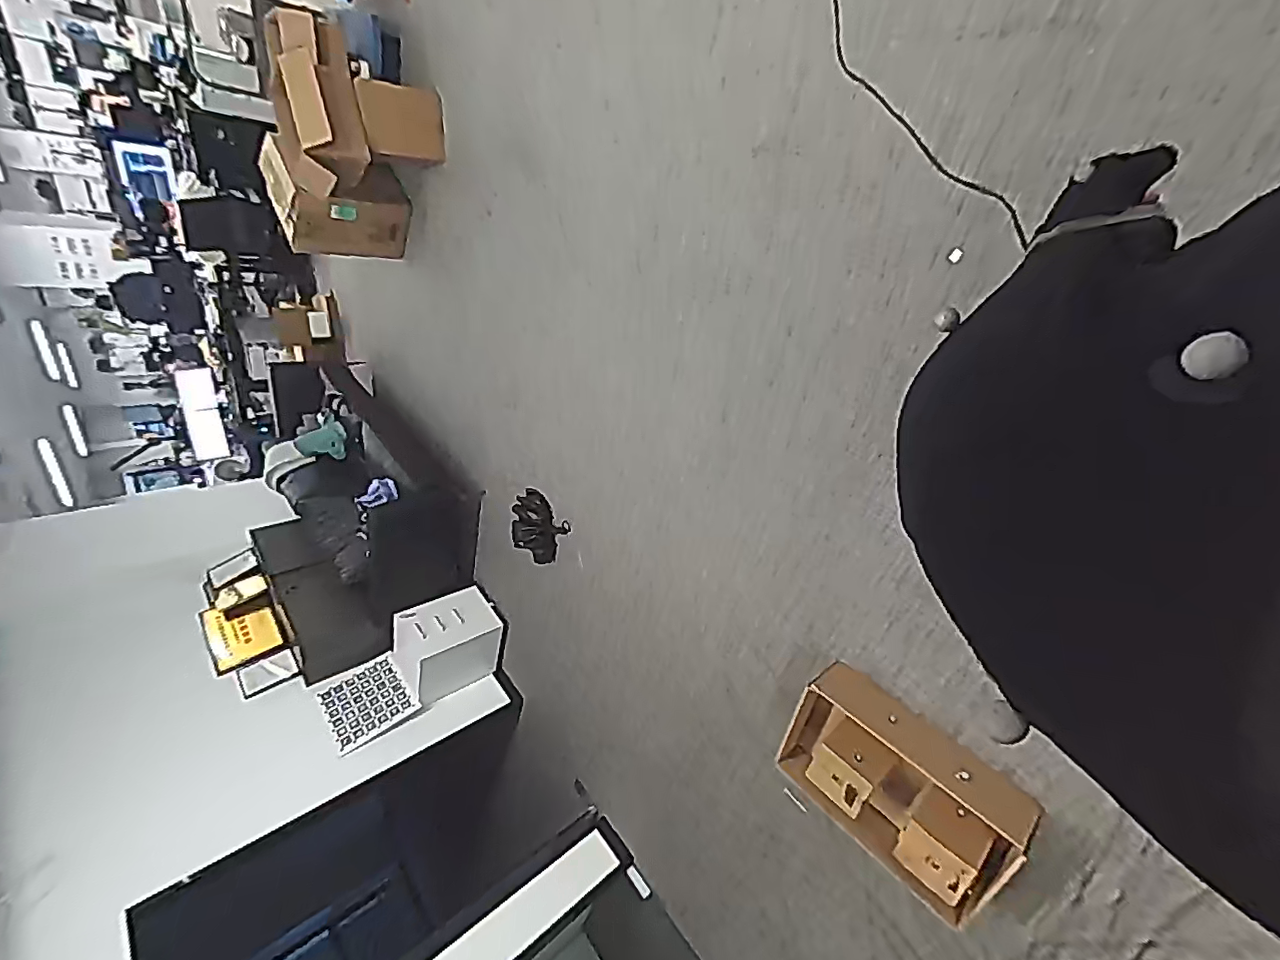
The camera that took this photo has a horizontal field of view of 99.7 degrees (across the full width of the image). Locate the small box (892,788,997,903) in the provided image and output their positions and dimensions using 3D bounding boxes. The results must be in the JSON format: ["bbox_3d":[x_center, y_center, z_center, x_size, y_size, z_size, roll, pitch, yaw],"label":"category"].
[{"bbox_3d":[0.839,0.992,1.491,0.179,0.176,0.168,32,126,40],"label":"small box"}]

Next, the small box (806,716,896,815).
[{"bbox_3d":[0.652,0.869,1.662,0.179,0.176,0.168,35,127,37],"label":"small box"}]
